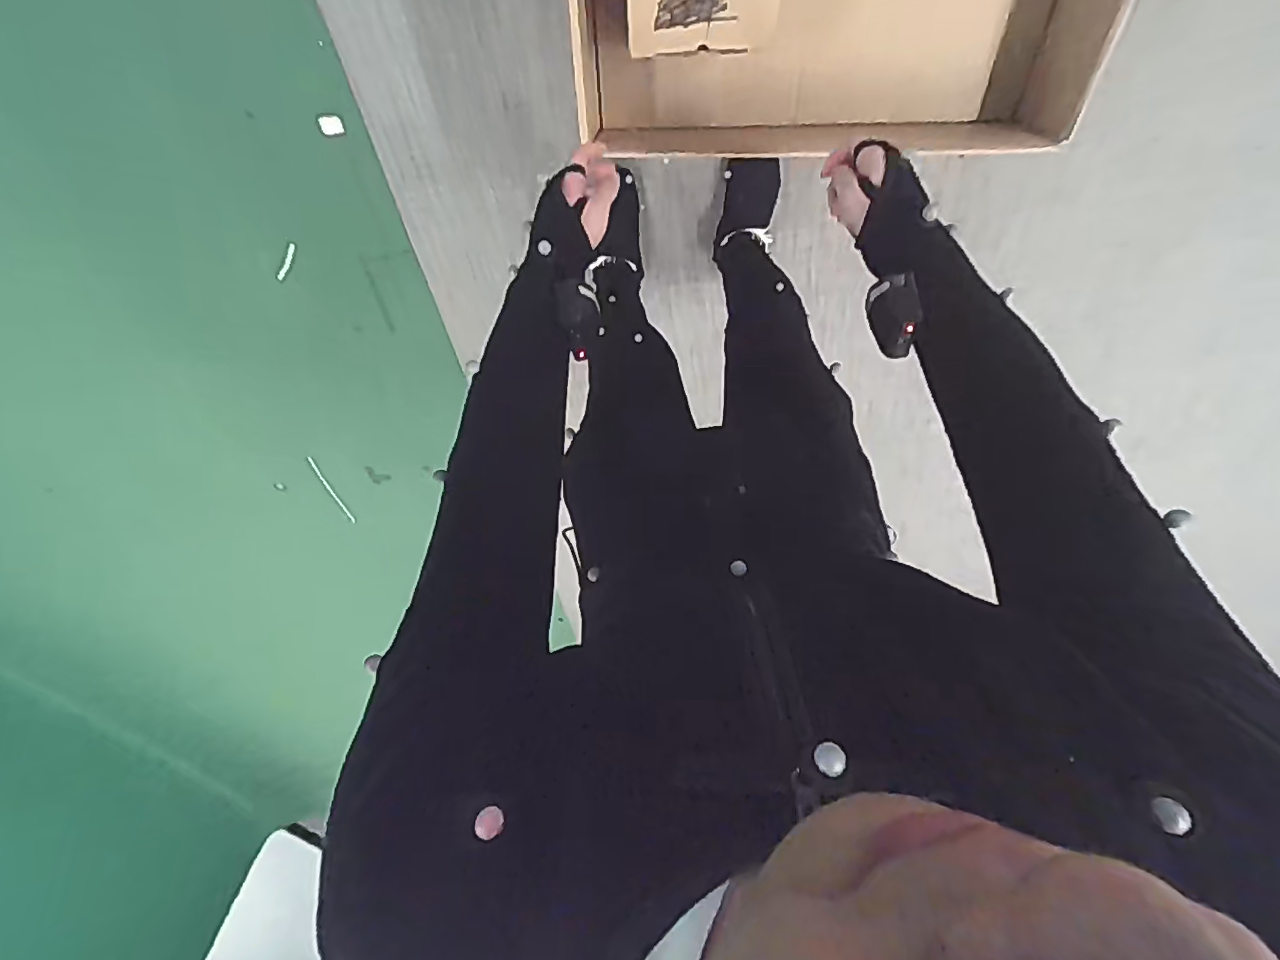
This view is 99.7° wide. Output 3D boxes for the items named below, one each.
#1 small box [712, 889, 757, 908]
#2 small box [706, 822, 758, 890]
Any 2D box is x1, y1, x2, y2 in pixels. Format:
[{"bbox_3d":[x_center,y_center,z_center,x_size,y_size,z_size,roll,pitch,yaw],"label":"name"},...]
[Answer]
[{"bbox_3d":[0.369,1.553,2.120,0.168,0.176,0.179,-6,131,9],"label":"small box"},{"bbox_3d":[0.326,1.335,1.921,0.168,0.176,0.179,-5,133,6],"label":"small box"}]
